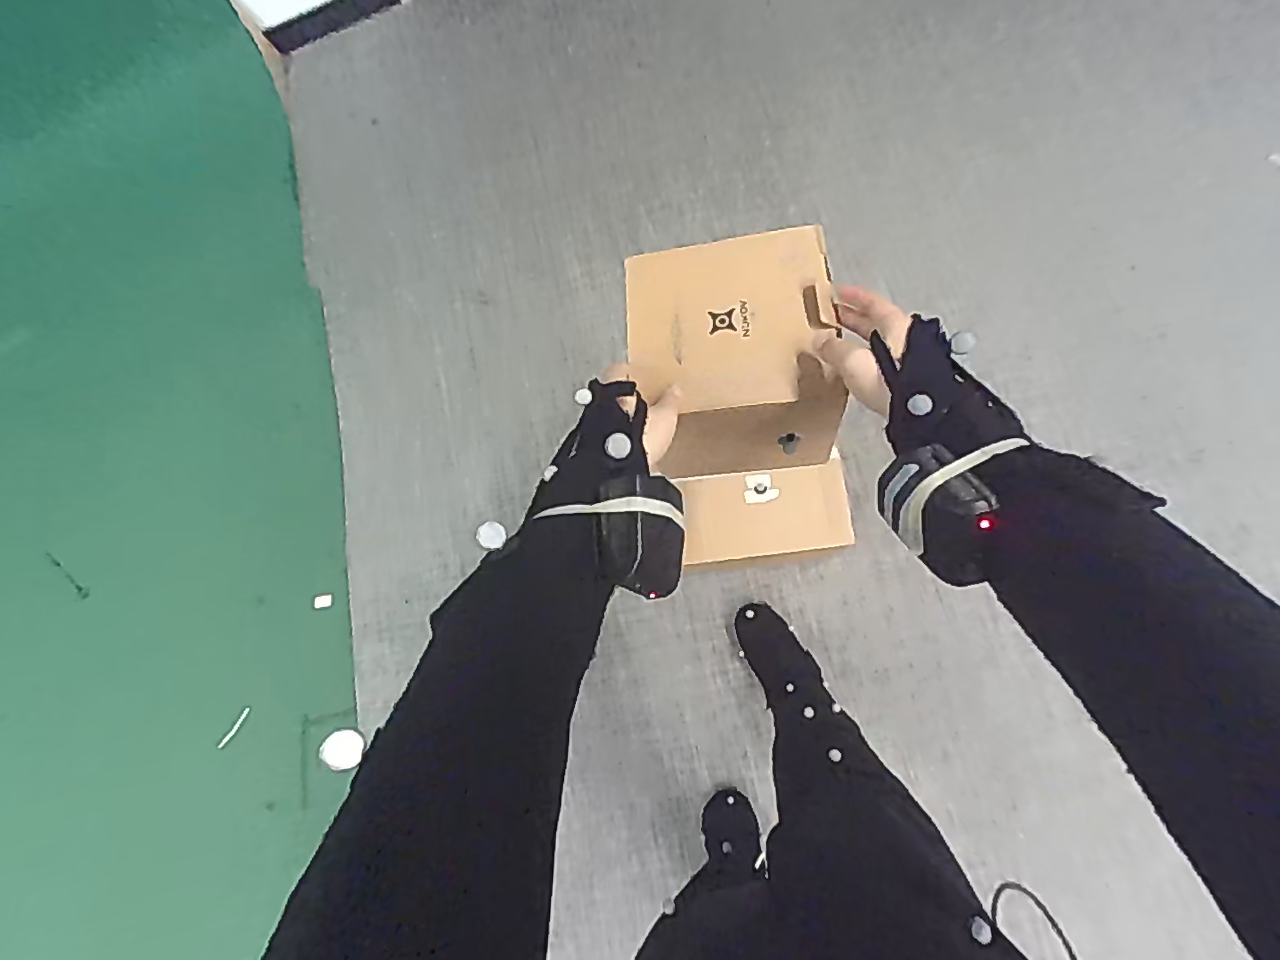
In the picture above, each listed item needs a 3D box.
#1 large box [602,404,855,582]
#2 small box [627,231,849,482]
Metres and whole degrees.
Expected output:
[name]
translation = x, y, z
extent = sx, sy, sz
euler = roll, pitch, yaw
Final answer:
[large box]
translation = 0.163, 0.019, 1.080
extent = 0.408, 0.320, 0.320
euler = -8, 77, 8
[small box]
translation = 0.092, -0.105, 0.533
extent = 0.179, 0.176, 0.168
euler = -7, 70, 12
